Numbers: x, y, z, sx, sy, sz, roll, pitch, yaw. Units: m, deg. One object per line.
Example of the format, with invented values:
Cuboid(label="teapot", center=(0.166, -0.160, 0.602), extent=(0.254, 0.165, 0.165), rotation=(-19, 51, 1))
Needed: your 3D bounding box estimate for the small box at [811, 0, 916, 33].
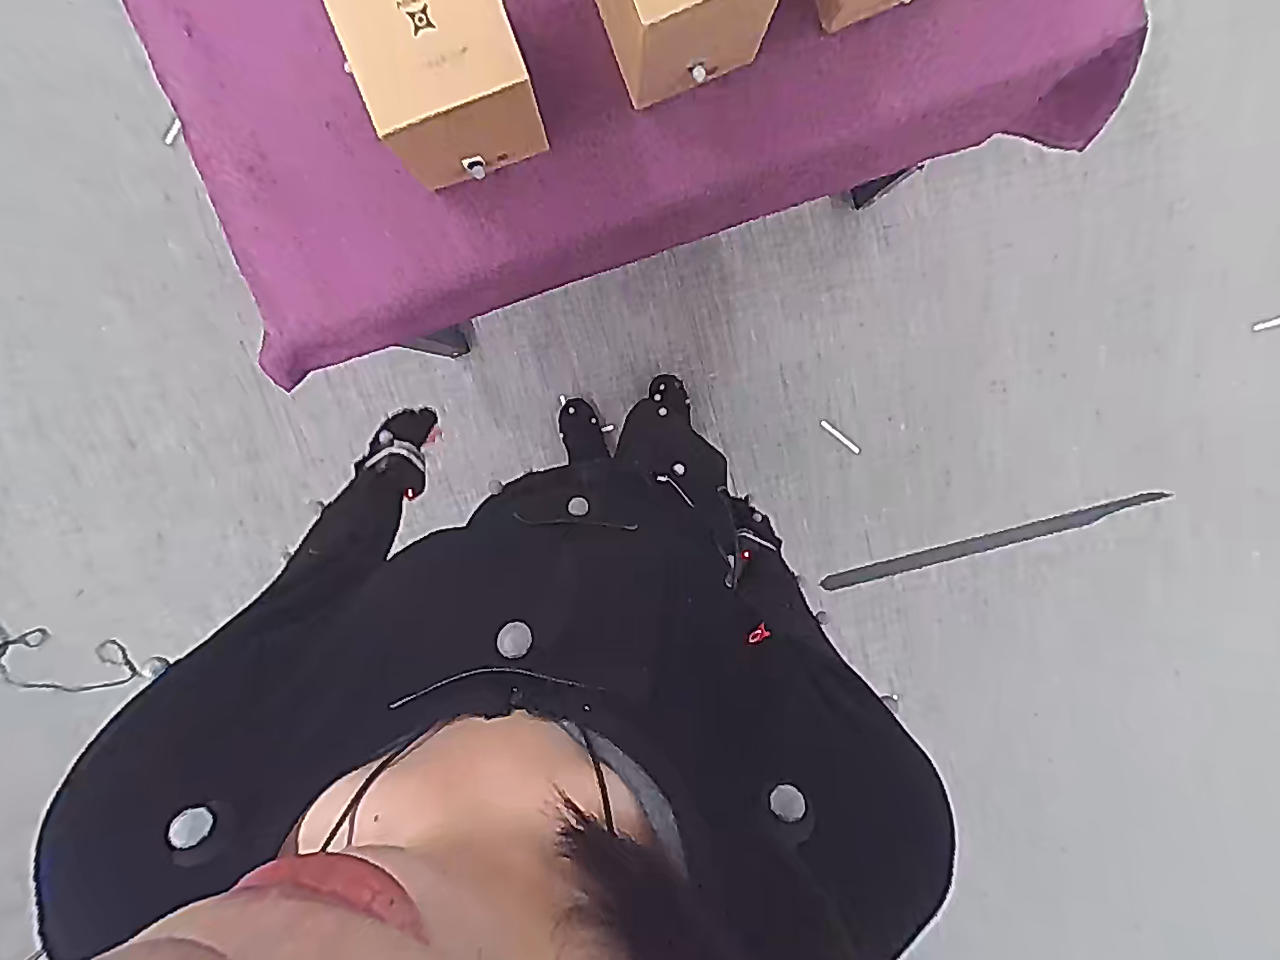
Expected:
Cuboid(label="small box", center=(0.289, -0.658, 0.597), extent=(0.179, 0.176, 0.168), rotation=(-22, 99, 1))

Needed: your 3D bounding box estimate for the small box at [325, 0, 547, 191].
Cuboid(label="small box", center=(-0.217, -0.463, 0.605), extent=(0.168, 0.176, 0.179), rotation=(-20, 100, 2))

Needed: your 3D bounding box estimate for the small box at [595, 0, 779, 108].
Cuboid(label="small box", center=(0.041, -0.567, 0.600), extent=(0.168, 0.176, 0.179), rotation=(-22, 100, 1))
